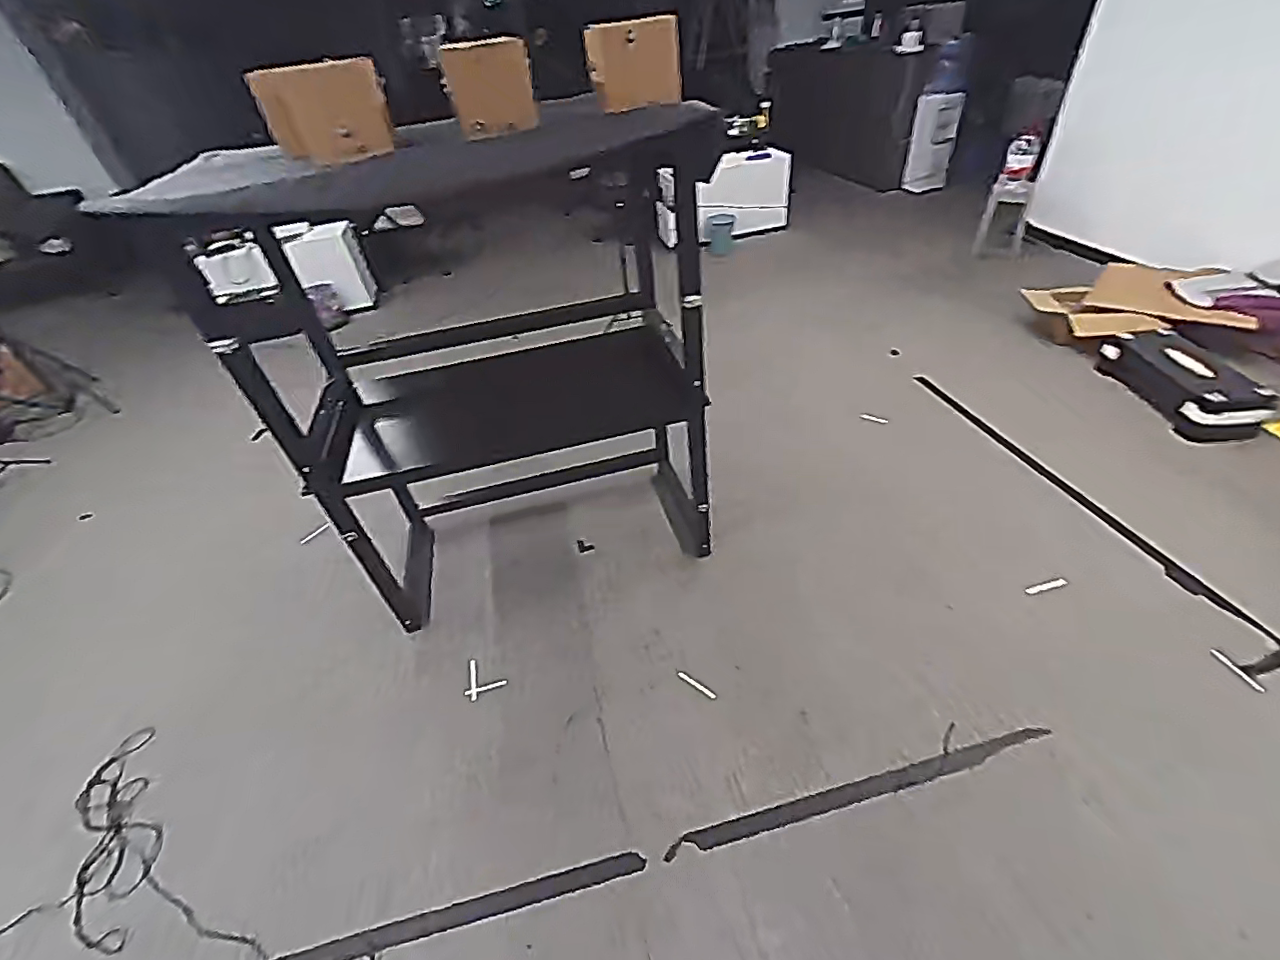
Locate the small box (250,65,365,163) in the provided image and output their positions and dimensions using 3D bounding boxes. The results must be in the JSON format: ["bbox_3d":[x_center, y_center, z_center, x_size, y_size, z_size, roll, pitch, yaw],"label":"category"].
[{"bbox_3d":[-0.793,-0.890,1.315,0.179,0.176,0.168,-15,41,-10],"label":"small box"}]

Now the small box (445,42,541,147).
[{"bbox_3d":[-0.327,-0.860,1.211,0.168,0.176,0.179,-15,41,-8],"label":"small box"}]

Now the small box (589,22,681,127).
[{"bbox_3d":[-0.012,-0.914,1.224,0.168,0.176,0.179,-14,40,-7],"label":"small box"}]
